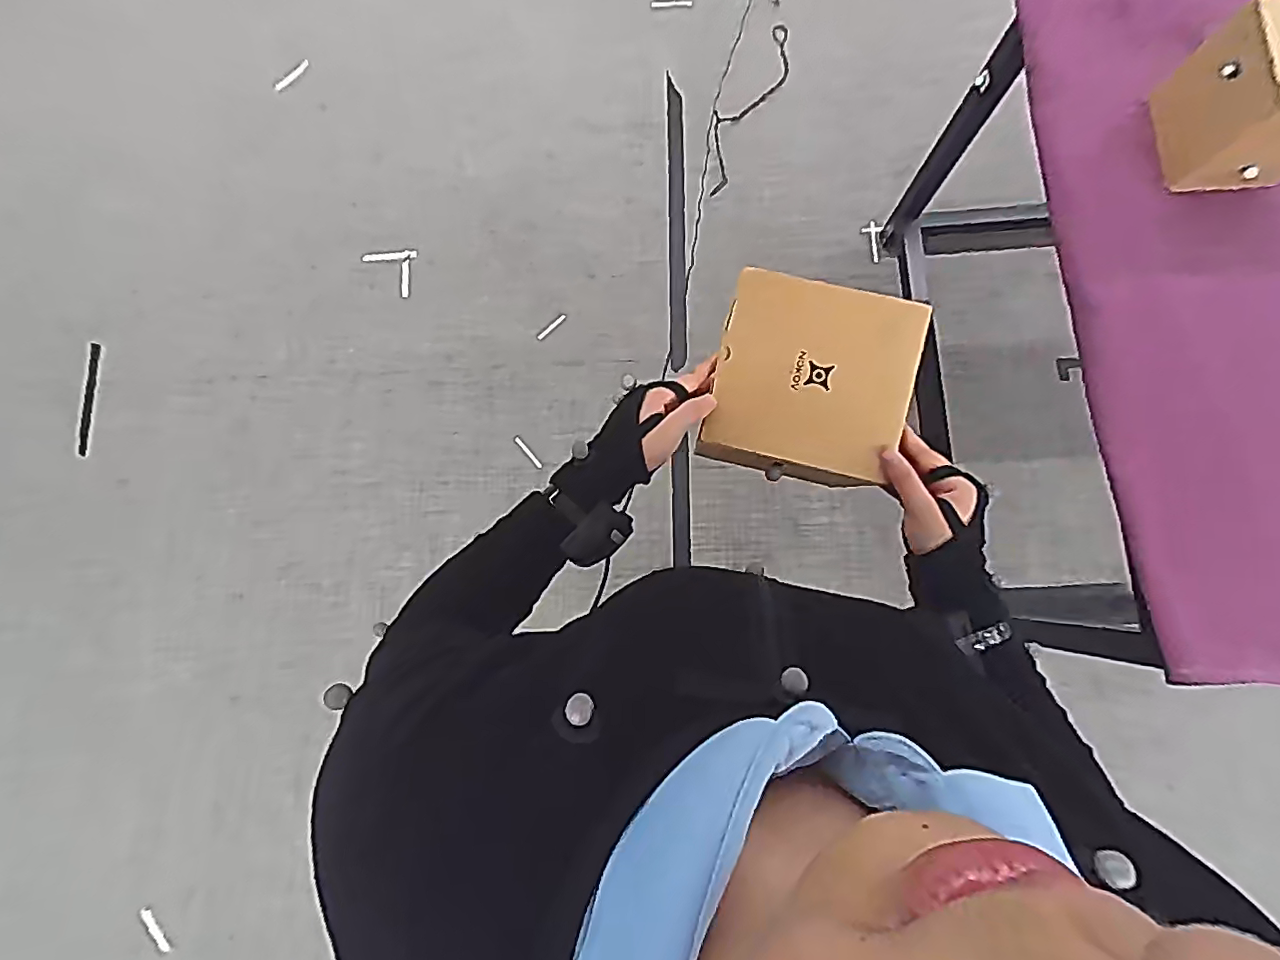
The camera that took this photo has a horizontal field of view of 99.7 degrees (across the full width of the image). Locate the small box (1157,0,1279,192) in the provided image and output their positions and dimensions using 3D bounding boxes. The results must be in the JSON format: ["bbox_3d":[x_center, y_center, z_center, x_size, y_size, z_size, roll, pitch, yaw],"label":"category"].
[{"bbox_3d":[0.921,-0.559,0.795,0.168,0.176,0.179,-2,81,3],"label":"small box"}]

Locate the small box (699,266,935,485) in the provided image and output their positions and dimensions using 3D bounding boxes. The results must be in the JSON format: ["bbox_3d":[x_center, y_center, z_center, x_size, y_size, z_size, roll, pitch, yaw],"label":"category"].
[{"bbox_3d":[0.165,-0.095,0.564,0.179,0.176,0.168,14,90,5],"label":"small box"}]
